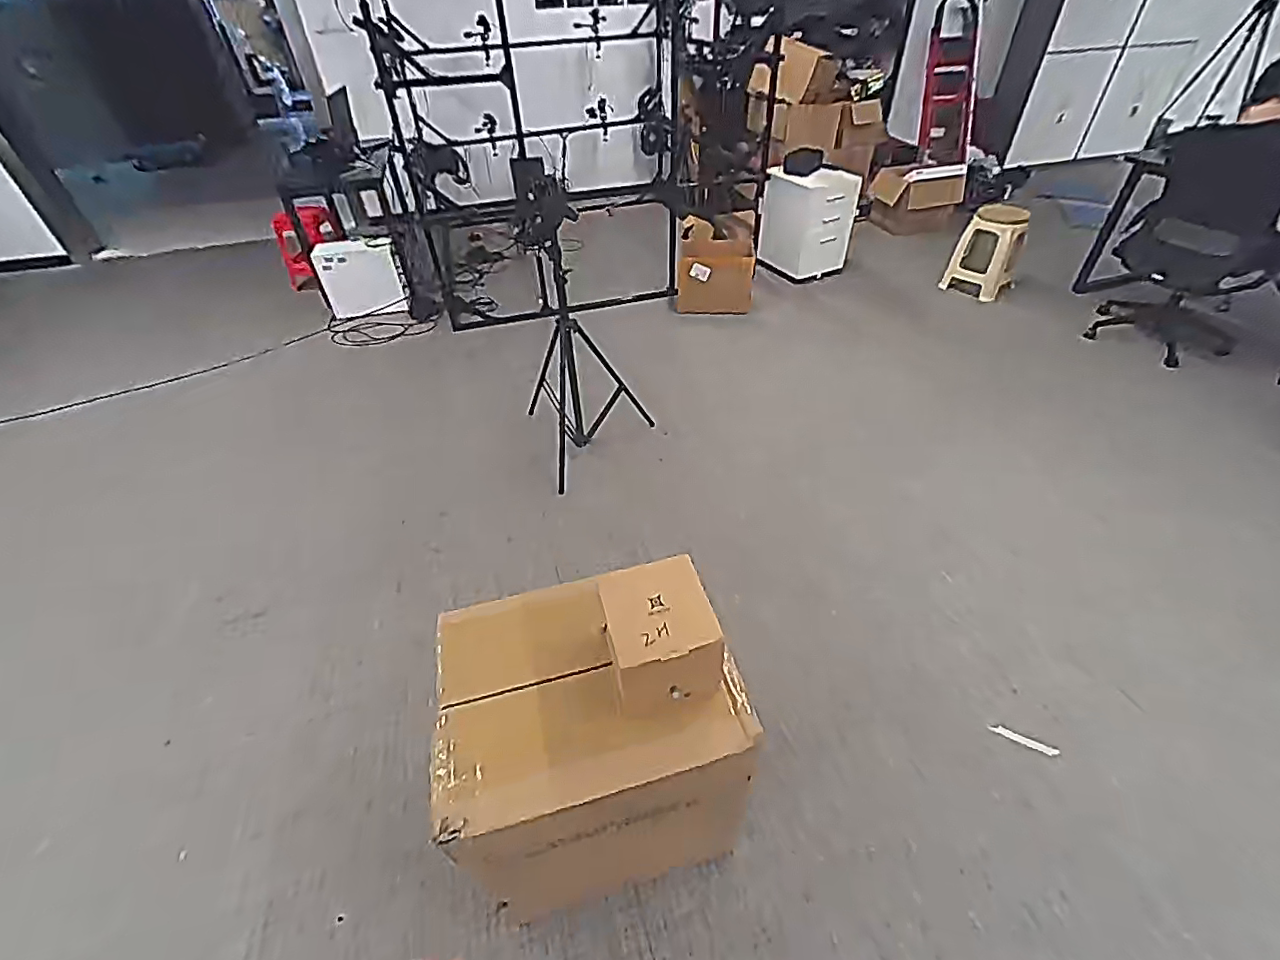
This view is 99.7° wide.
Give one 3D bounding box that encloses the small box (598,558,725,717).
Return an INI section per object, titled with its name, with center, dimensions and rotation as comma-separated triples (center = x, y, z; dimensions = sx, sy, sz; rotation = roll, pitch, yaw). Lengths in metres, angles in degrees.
[small box]
center = 0.031, 0.265, 0.913
dimensions = 0.168, 0.176, 0.179
rotation = -13, 44, -10
